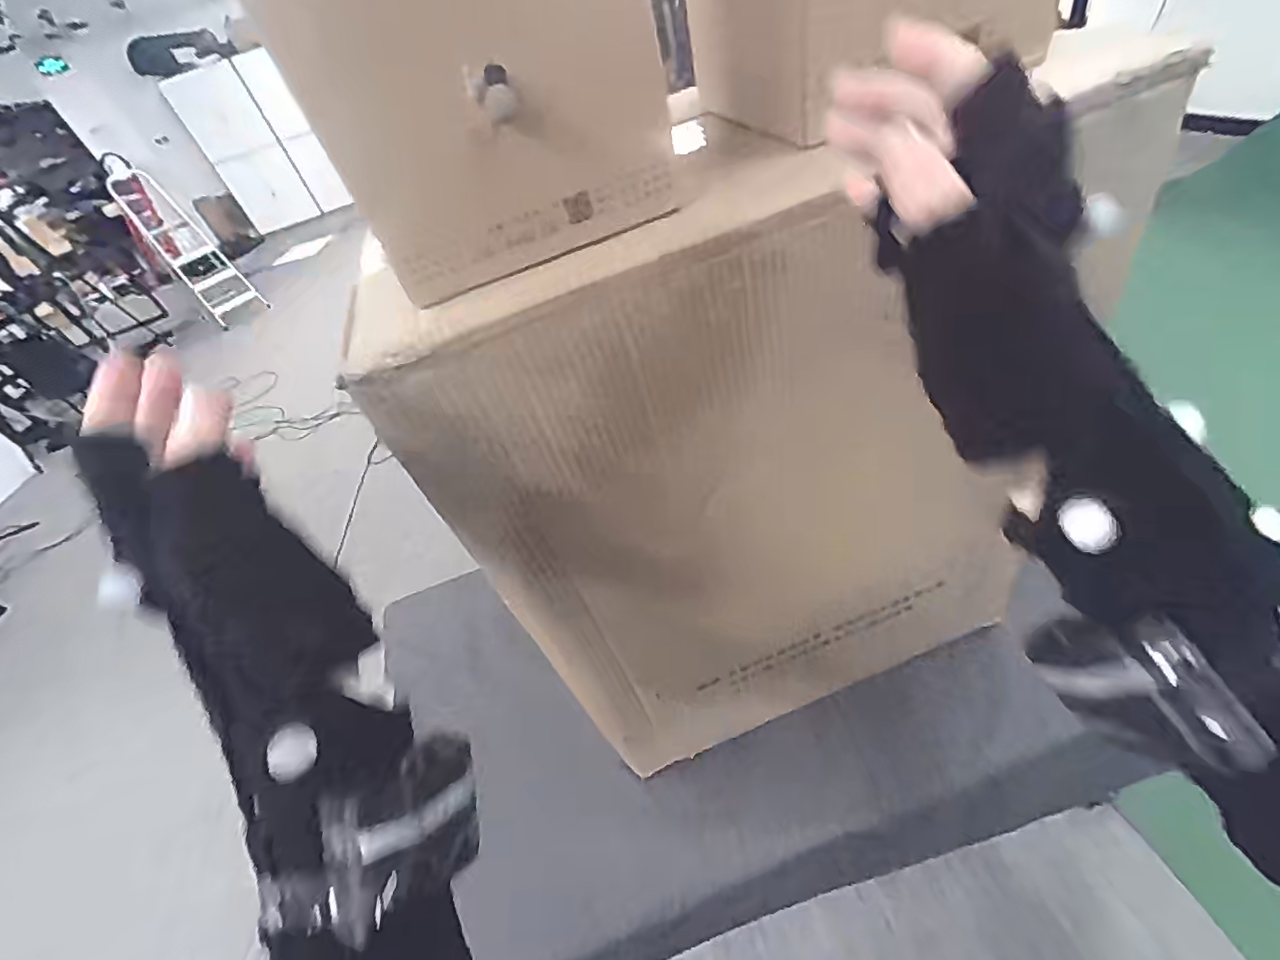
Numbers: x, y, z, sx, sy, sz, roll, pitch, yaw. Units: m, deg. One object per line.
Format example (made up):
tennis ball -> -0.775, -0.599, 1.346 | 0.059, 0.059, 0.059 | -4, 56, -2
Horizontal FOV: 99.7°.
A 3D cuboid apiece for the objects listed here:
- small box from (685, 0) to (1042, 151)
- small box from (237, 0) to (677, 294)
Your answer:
small box -> 0.132, -0.330, 0.342 | 0.168, 0.176, 0.179 | -20, 43, -5
small box -> -0.090, -0.230, 0.312 | 0.168, 0.176, 0.179 | -22, 45, -3
